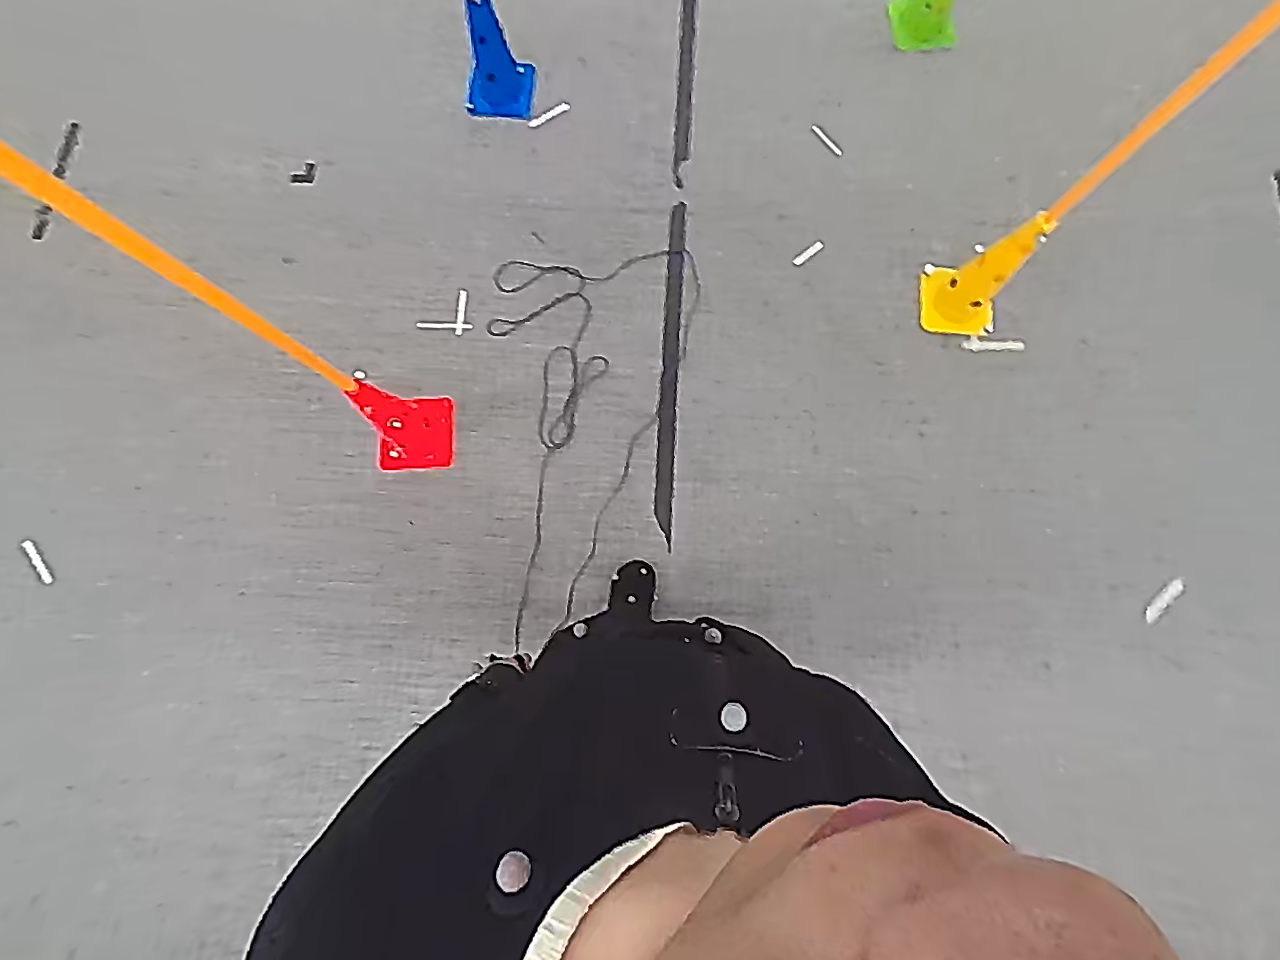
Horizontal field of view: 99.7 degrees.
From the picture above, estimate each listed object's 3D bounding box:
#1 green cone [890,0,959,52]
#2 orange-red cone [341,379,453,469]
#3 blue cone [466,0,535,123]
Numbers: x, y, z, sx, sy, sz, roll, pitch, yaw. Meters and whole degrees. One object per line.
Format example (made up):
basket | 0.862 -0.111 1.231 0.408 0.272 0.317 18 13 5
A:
green cone | 0.914 -1.499 1.569 0.200 0.368 0.202 -7 81 -2
orange-red cone | -0.597 -0.158 1.280 0.199 0.360 0.198 -2 79 -2
blue cone | -0.423 -1.230 1.515 0.193 0.380 0.192 6 79 1
